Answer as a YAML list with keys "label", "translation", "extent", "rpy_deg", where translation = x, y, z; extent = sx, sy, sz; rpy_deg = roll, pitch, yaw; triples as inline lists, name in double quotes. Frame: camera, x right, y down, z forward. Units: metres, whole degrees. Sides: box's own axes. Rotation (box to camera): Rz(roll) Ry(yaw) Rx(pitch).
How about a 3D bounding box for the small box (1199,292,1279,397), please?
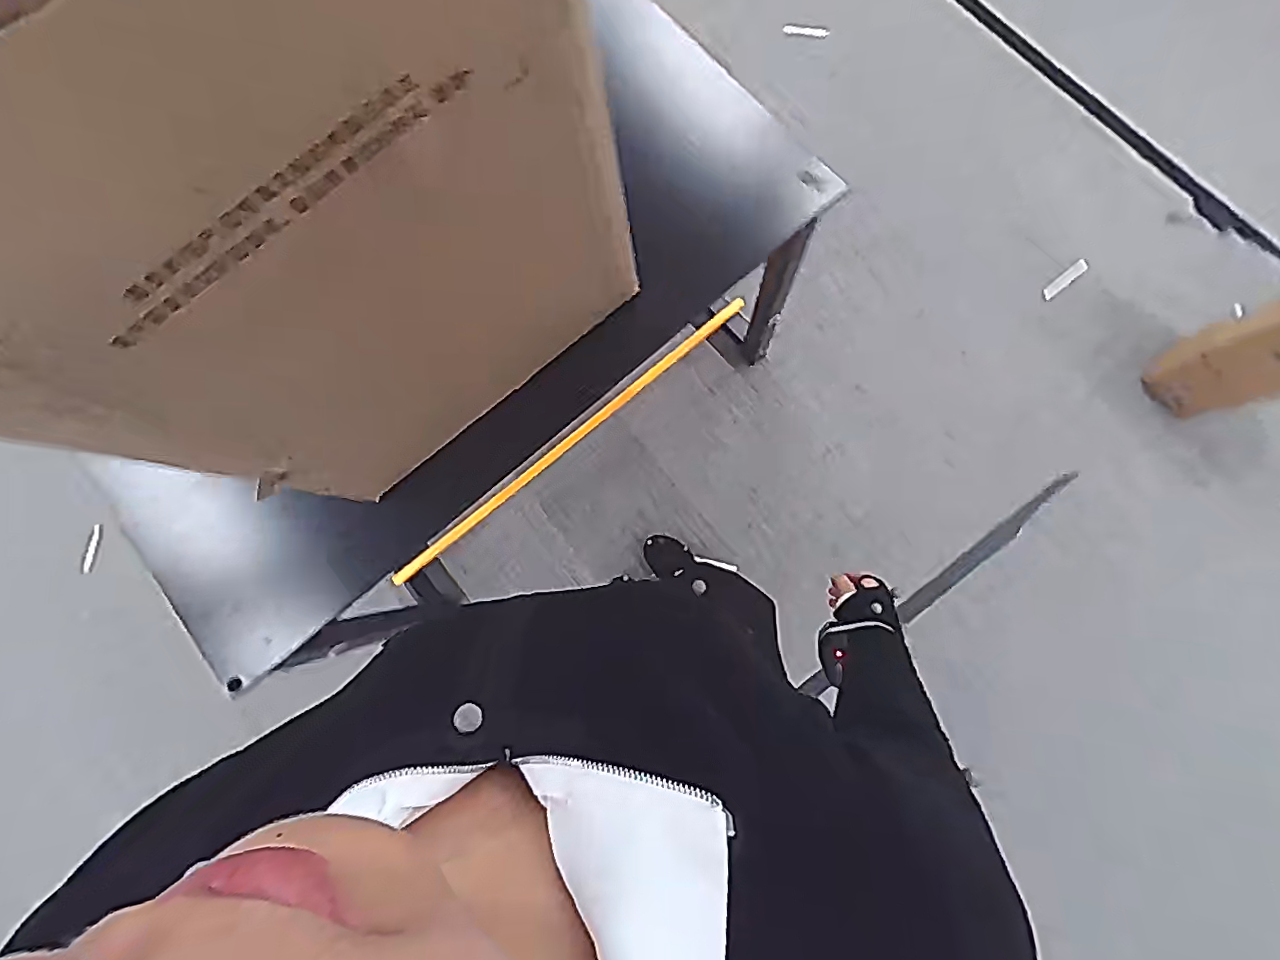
- label: "small box"
  translation: [1.441, -0.313, 1.211]
  extent: [0.168, 0.176, 0.179]
  rpy_deg: [-41, 81, -1]

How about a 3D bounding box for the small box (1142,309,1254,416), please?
- label: "small box"
  translation: [1.453, -0.290, 1.373]
  extent: [0.179, 0.176, 0.168]
  rpy_deg: [-45, 81, -1]
